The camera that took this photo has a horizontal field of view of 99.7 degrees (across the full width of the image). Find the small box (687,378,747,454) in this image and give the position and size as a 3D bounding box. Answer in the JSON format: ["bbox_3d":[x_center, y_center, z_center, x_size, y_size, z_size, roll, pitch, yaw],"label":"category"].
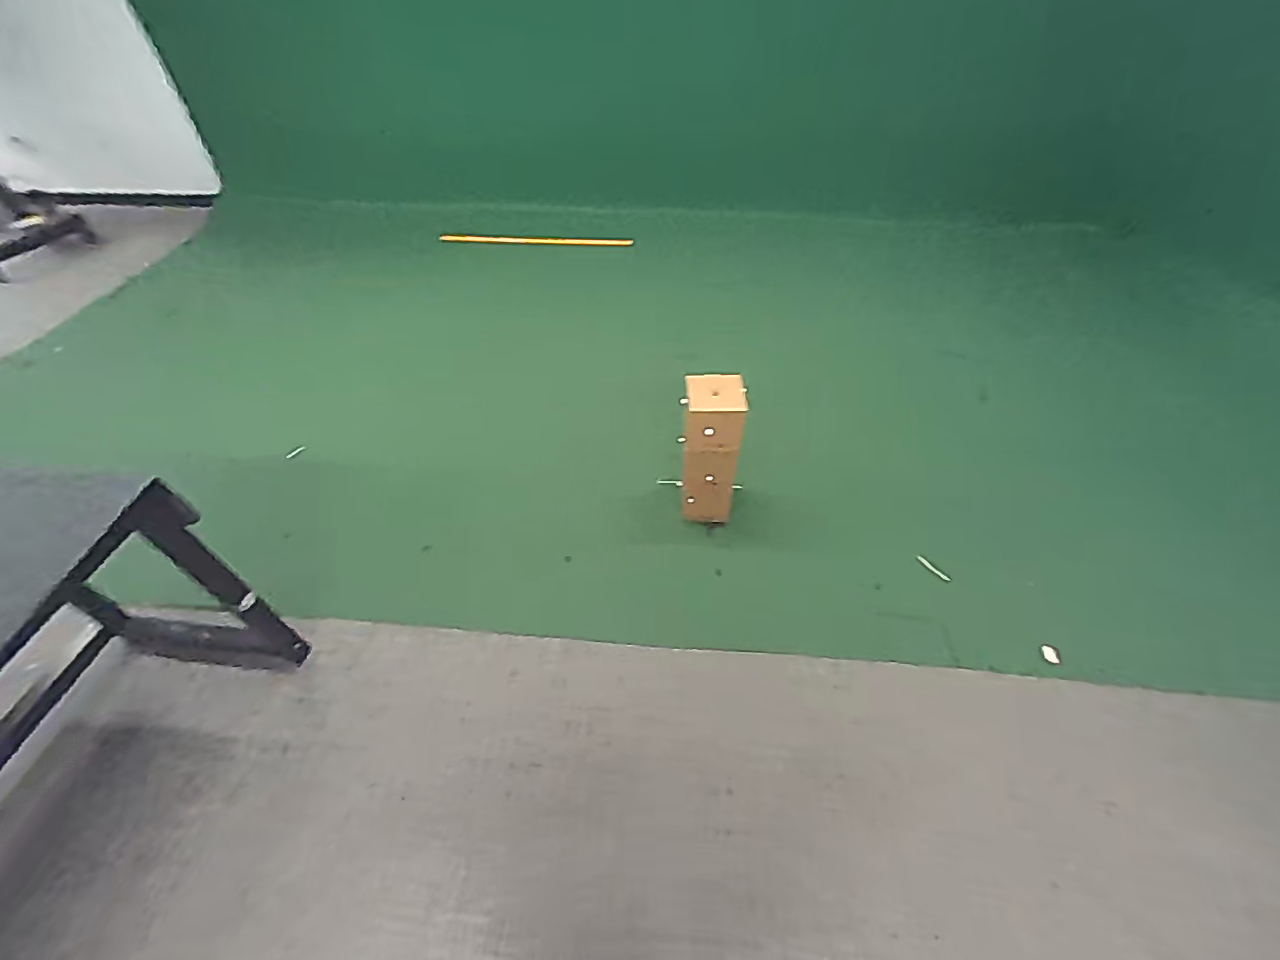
[{"bbox_3d":[0.232,-0.194,1.666,0.168,0.176,0.179,0,46,1],"label":"small box"}]

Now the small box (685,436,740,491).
[{"bbox_3d":[0.234,-0.085,1.786,0.168,0.176,0.179,1,47,3],"label":"small box"}]
